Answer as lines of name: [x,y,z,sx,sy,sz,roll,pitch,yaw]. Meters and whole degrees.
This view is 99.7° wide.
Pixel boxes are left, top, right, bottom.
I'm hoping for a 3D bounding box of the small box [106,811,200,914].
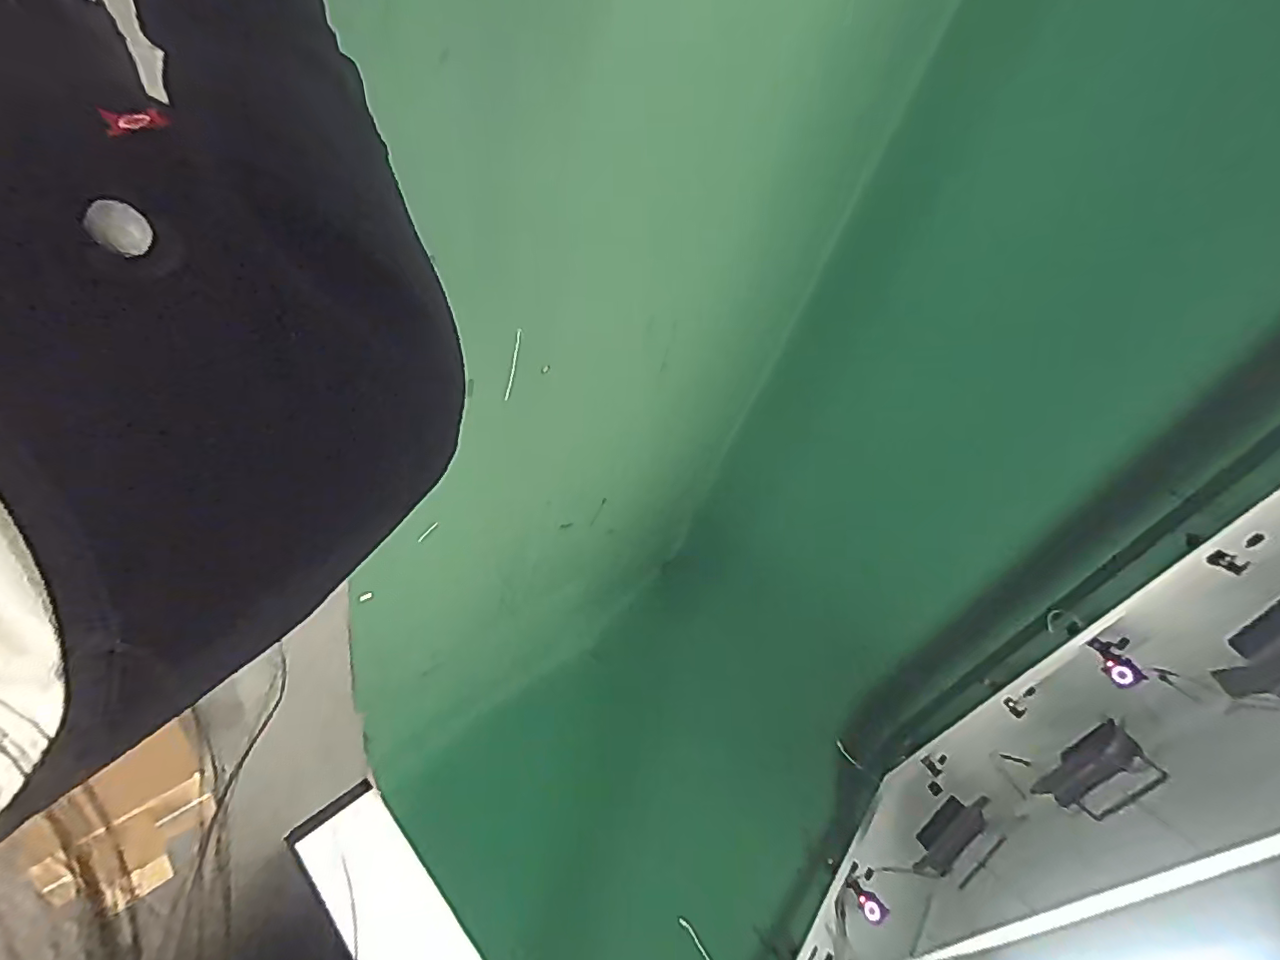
small box: [-1.486,1.158,1.651,0.168,0.176,0.179,-22,142,-47]
